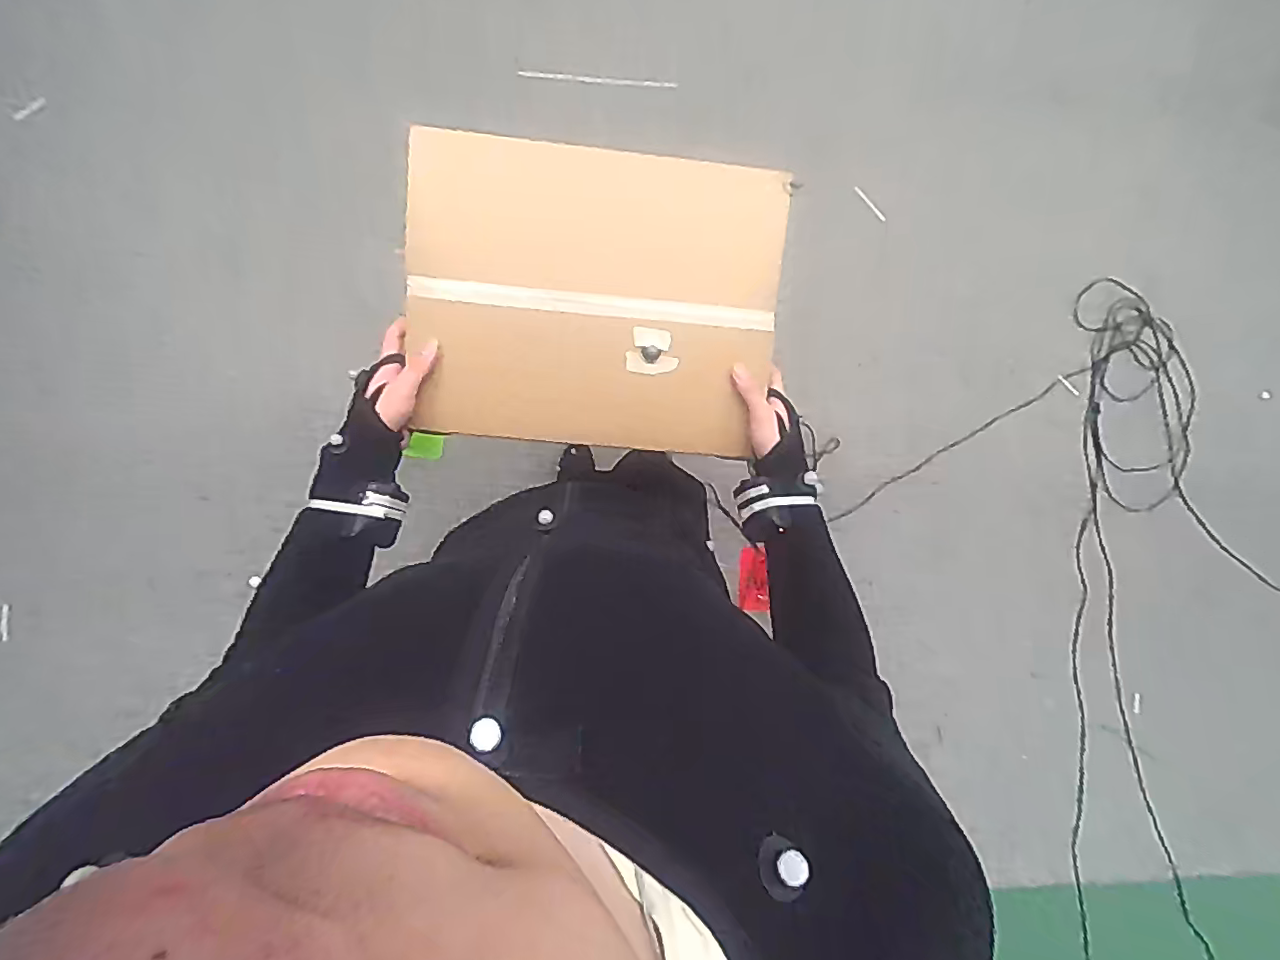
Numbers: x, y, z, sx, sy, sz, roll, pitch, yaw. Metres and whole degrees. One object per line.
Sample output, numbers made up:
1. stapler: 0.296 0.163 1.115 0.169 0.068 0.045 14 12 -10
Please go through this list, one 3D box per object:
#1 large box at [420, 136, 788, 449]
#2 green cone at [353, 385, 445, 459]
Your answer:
1. large box: -0.055 -0.224 0.751 0.408 0.320 0.320 4 101 -5
2. green cone: -0.654 -0.161 1.406 0.200 0.368 0.202 7 92 -5
